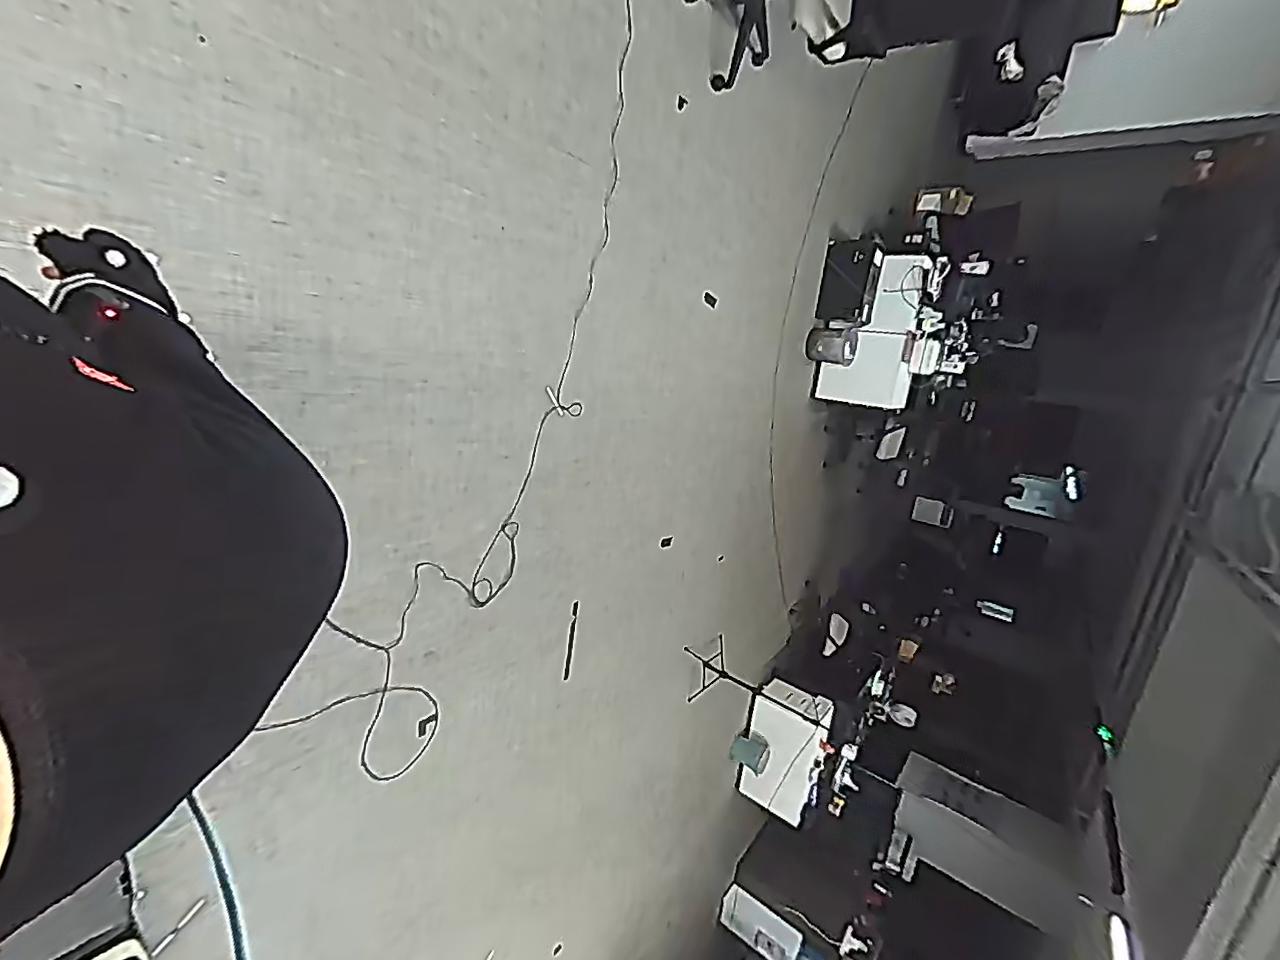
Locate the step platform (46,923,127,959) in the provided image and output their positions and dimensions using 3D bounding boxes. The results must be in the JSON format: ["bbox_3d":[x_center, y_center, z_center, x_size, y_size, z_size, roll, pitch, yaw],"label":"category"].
[{"bbox_3d":[-1.437,1.251,1.038,0.684,0.204,0.286,-12,113,-50],"label":"step platform"}]
